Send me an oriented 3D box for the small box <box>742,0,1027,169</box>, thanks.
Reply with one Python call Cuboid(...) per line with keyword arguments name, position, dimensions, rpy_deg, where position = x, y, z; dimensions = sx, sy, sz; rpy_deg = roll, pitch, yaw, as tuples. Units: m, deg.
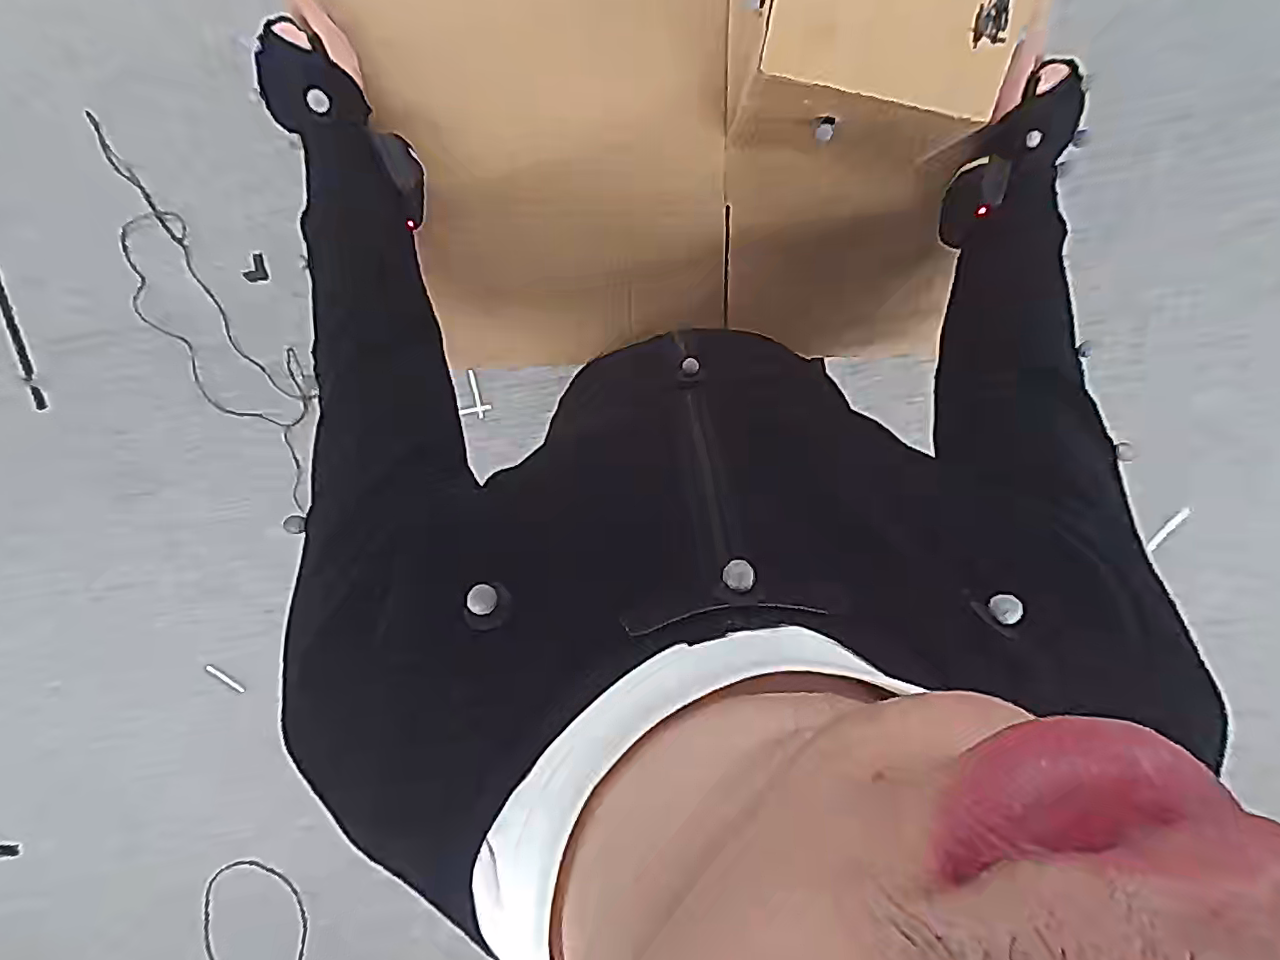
Cuboid(name="small box", position=(0.192, -0.381, 0.451), dimensions=(0.179, 0.176, 0.168), rpy_deg=(12, 108, 0))
